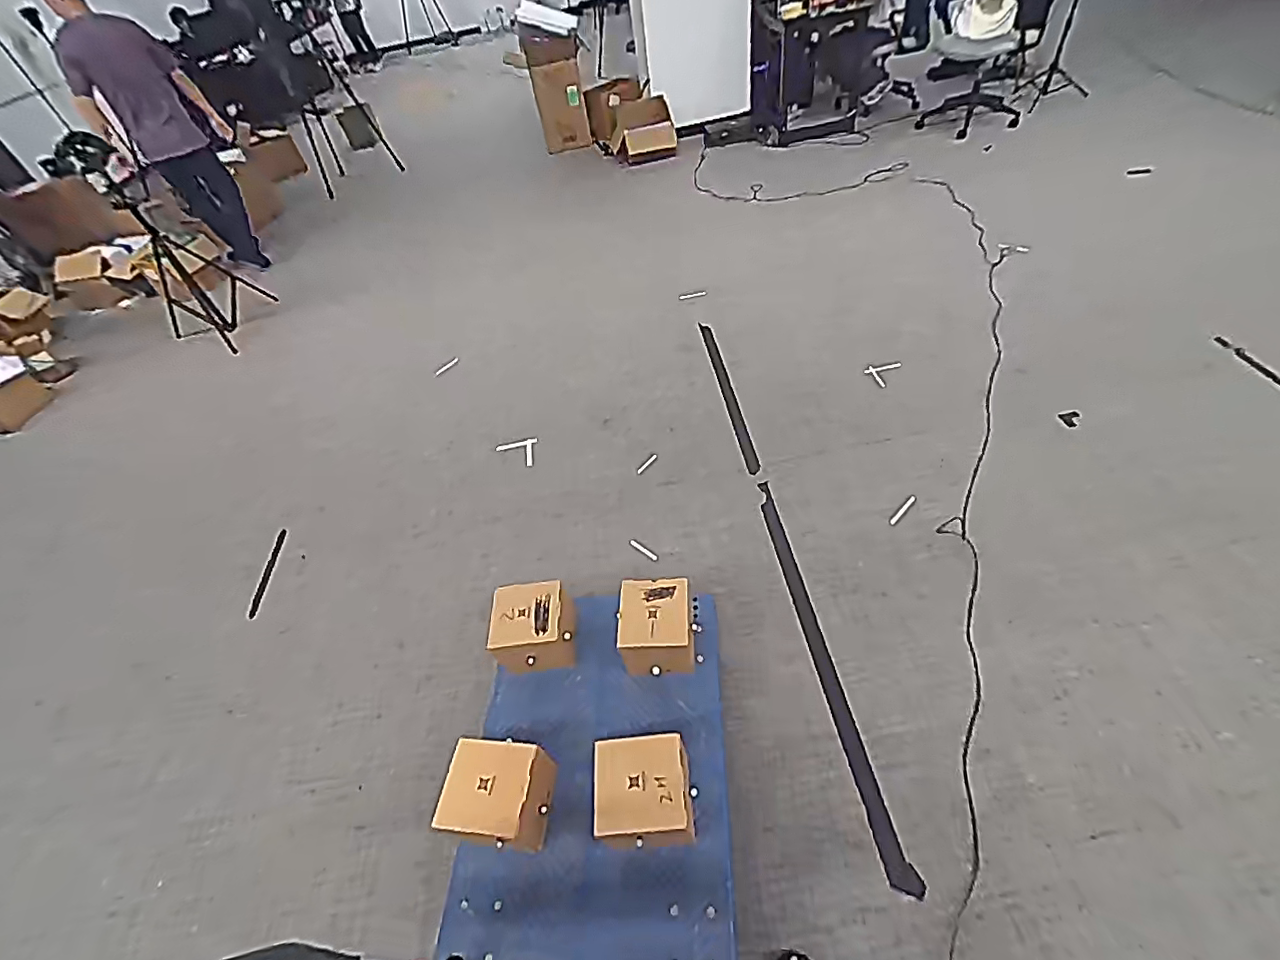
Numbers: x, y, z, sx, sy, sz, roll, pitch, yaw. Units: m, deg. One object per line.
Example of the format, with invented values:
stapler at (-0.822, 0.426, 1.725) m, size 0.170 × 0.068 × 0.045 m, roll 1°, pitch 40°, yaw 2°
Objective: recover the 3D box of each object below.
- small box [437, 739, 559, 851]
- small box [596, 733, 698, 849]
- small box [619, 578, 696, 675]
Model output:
small box at (-0.288, 0.662, 1.133) m, size 0.179 × 0.176 × 0.168 m, roll 0°, pitch 47°, yaw 10°
small box at (0.016, 0.632, 1.094) m, size 0.179 × 0.176 × 0.168 m, roll -9°, pitch 48°, yaw 5°
small box at (0.049, 0.362, 1.332) m, size 0.168 × 0.176 × 0.179 m, roll -4°, pitch 49°, yaw 9°
